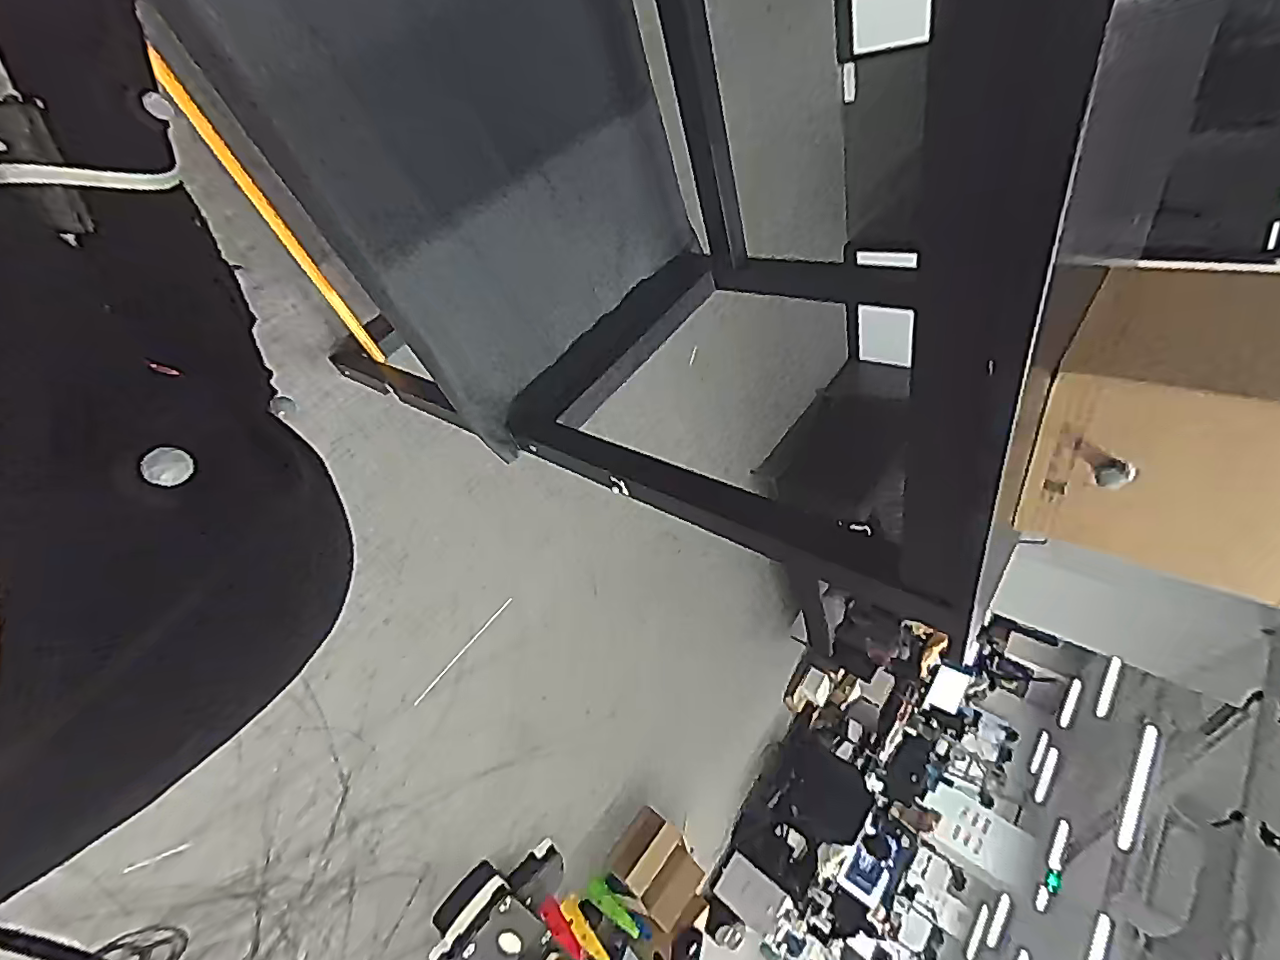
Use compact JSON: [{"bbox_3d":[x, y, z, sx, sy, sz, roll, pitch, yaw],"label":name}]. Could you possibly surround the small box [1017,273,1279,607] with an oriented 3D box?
[{"bbox_3d":[0.427,-0.045,0.417,0.179,0.176,0.168,-43,136,-27],"label":"small box"}]
